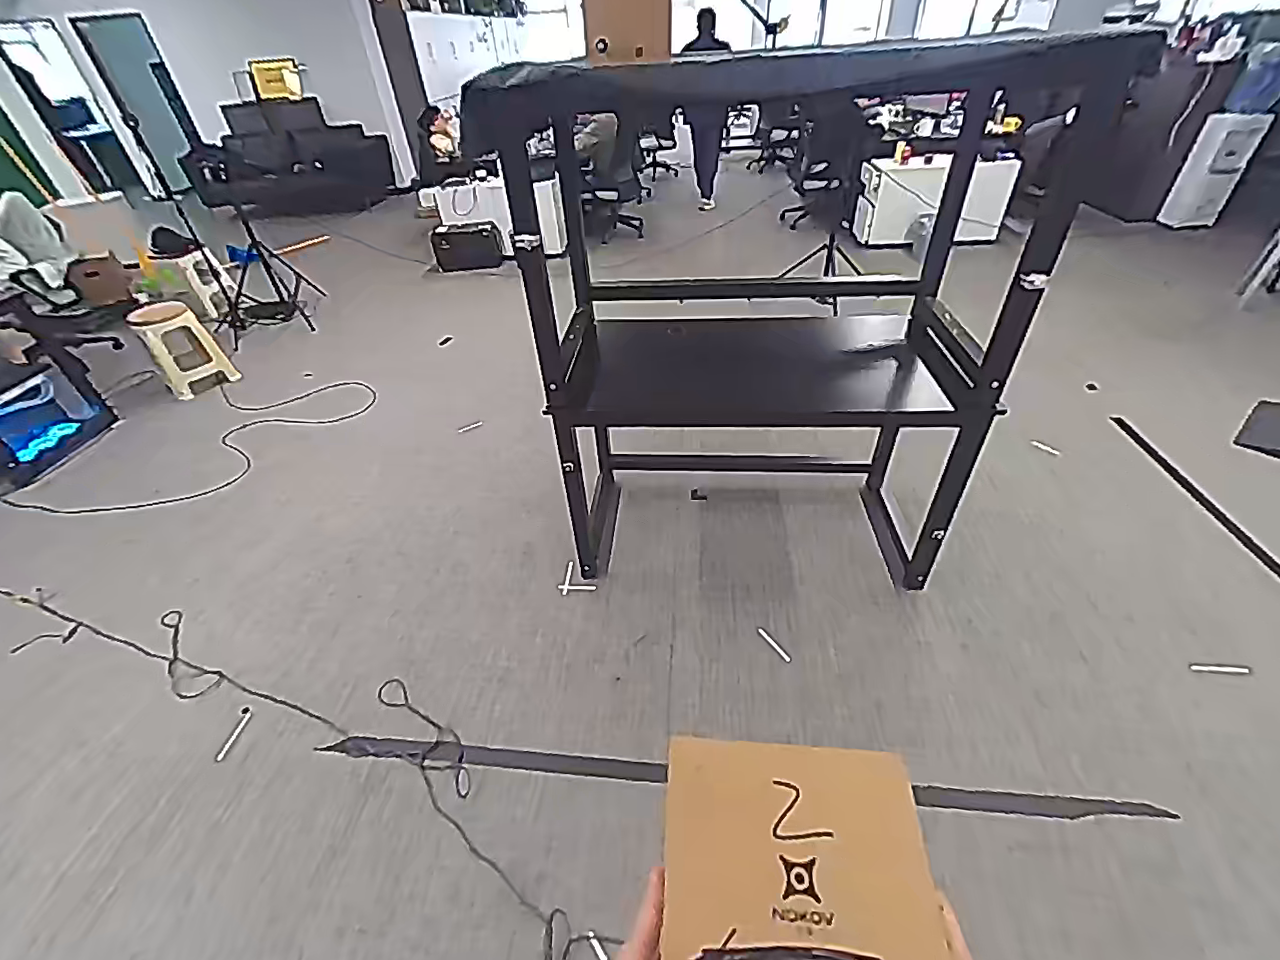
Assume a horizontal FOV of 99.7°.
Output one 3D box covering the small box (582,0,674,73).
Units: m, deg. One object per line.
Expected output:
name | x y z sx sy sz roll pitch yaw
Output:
small box | -0.019 -0.898 1.044 0.168 0.176 0.179 0 37 3
